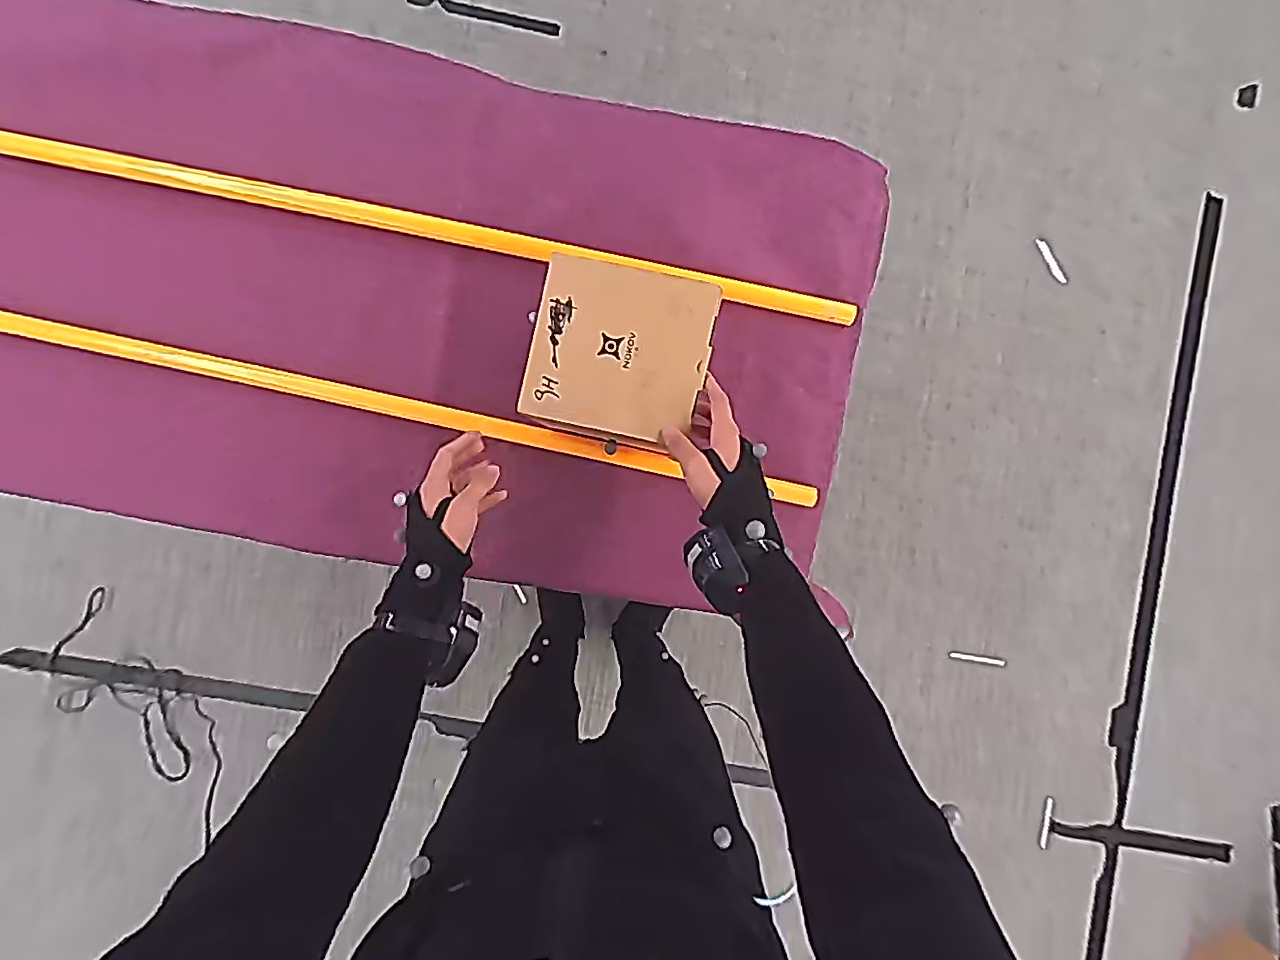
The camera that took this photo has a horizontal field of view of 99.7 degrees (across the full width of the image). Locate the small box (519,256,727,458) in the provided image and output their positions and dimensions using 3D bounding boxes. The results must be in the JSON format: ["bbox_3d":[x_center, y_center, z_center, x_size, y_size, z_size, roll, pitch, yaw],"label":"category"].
[{"bbox_3d":[-0.015,-0.123,0.607,0.179,0.176,0.168,13,91,2],"label":"small box"}]
